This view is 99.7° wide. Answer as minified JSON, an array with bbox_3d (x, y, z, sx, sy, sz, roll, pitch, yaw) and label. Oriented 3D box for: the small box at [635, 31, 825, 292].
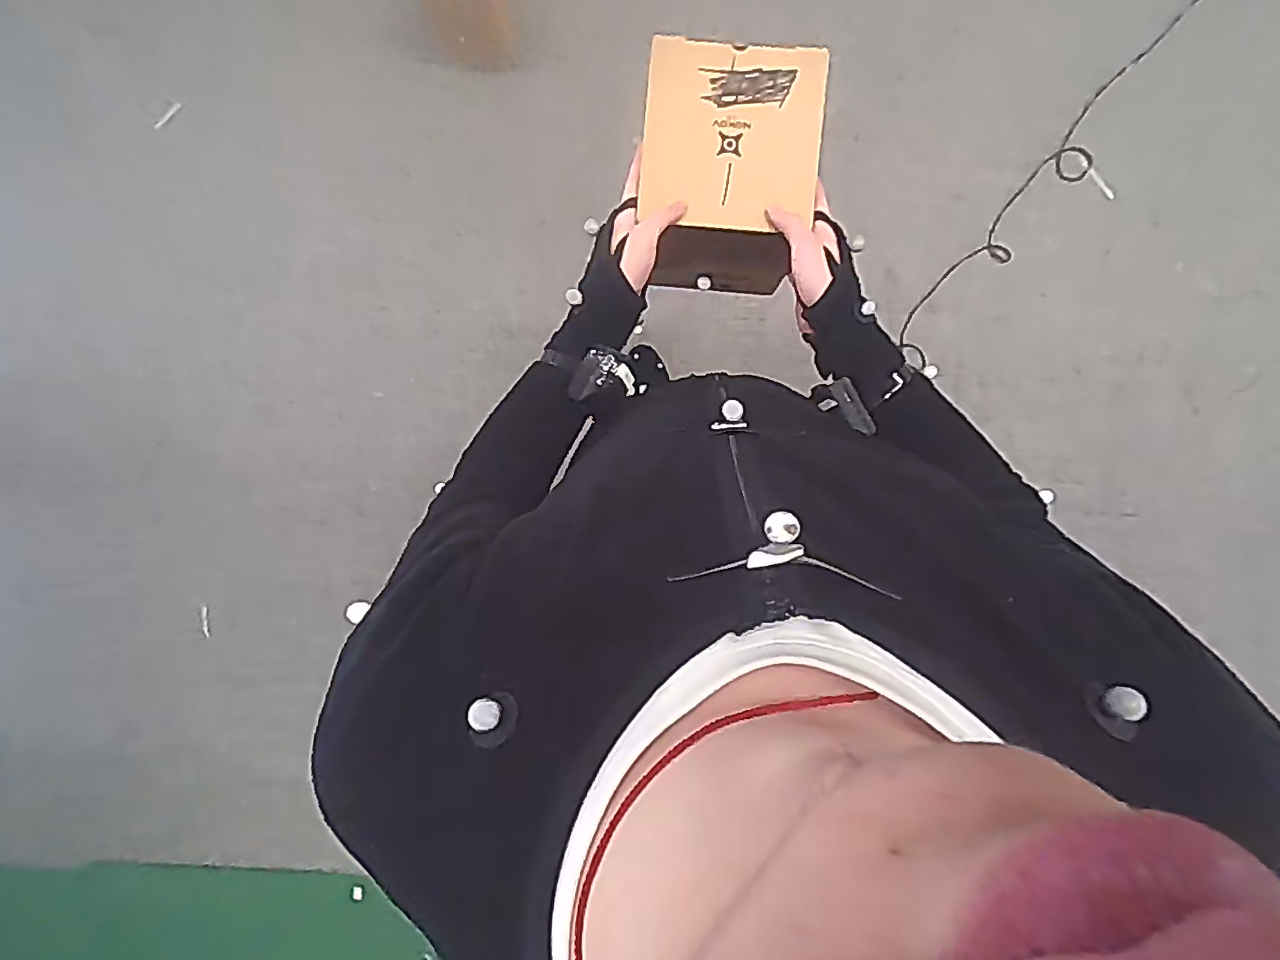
[{"bbox_3d":[0.084,-0.323,0.580,0.168,0.176,0.179,5,90,1],"label":"small box"}]
